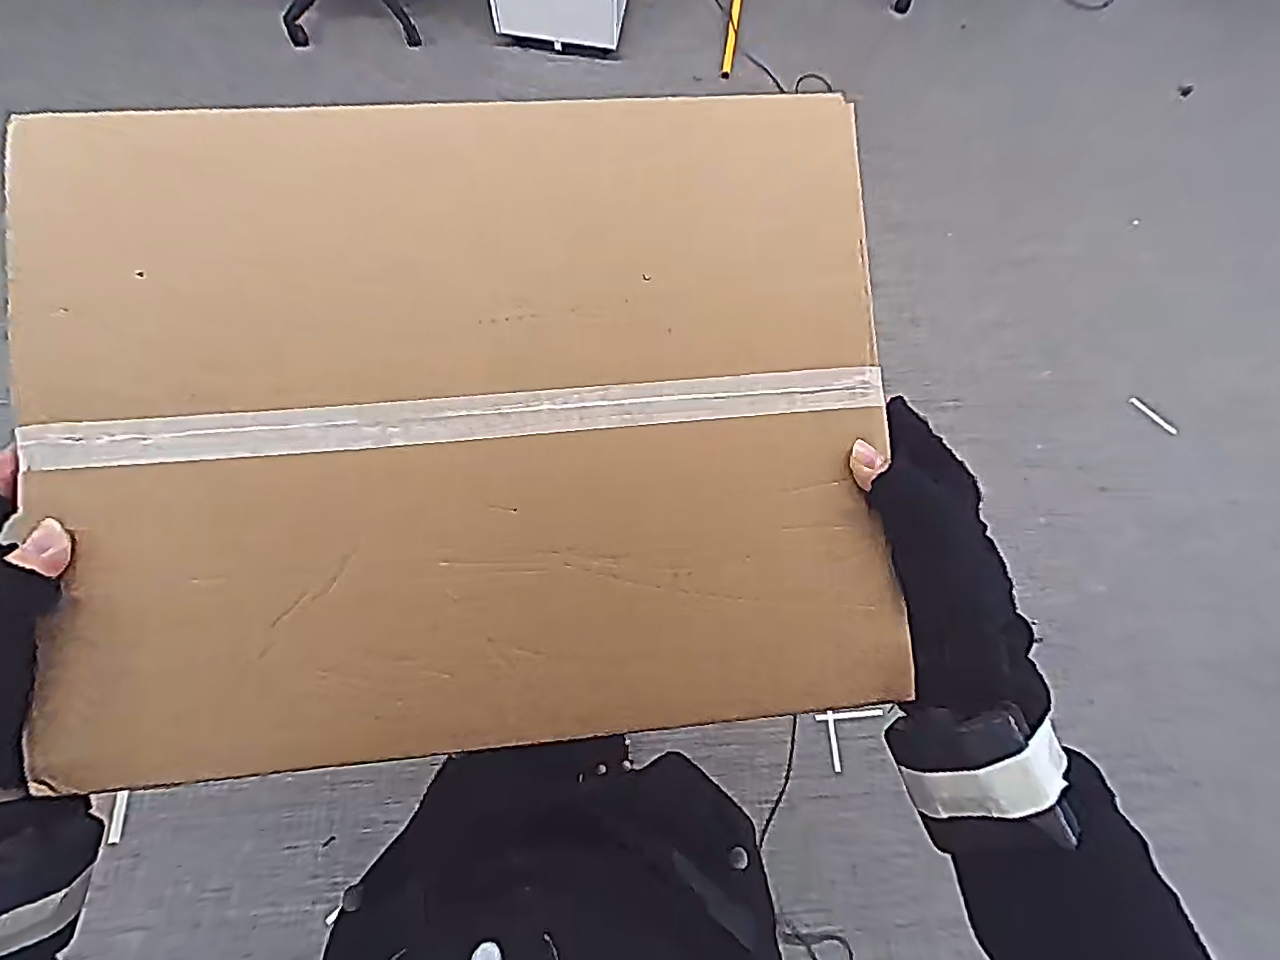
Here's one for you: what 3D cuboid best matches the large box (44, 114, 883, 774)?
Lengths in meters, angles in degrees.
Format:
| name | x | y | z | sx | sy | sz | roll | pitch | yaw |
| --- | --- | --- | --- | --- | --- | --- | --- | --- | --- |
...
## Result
| name | x | y | z | sx | sy | sz | roll | pitch | yaw |
| --- | --- | --- | --- | --- | --- | --- | --- | --- | --- |
| large box | -0.090 | -0.024 | 0.421 | 0.408 | 0.320 | 0.320 | -4 | 87 | -4 |
